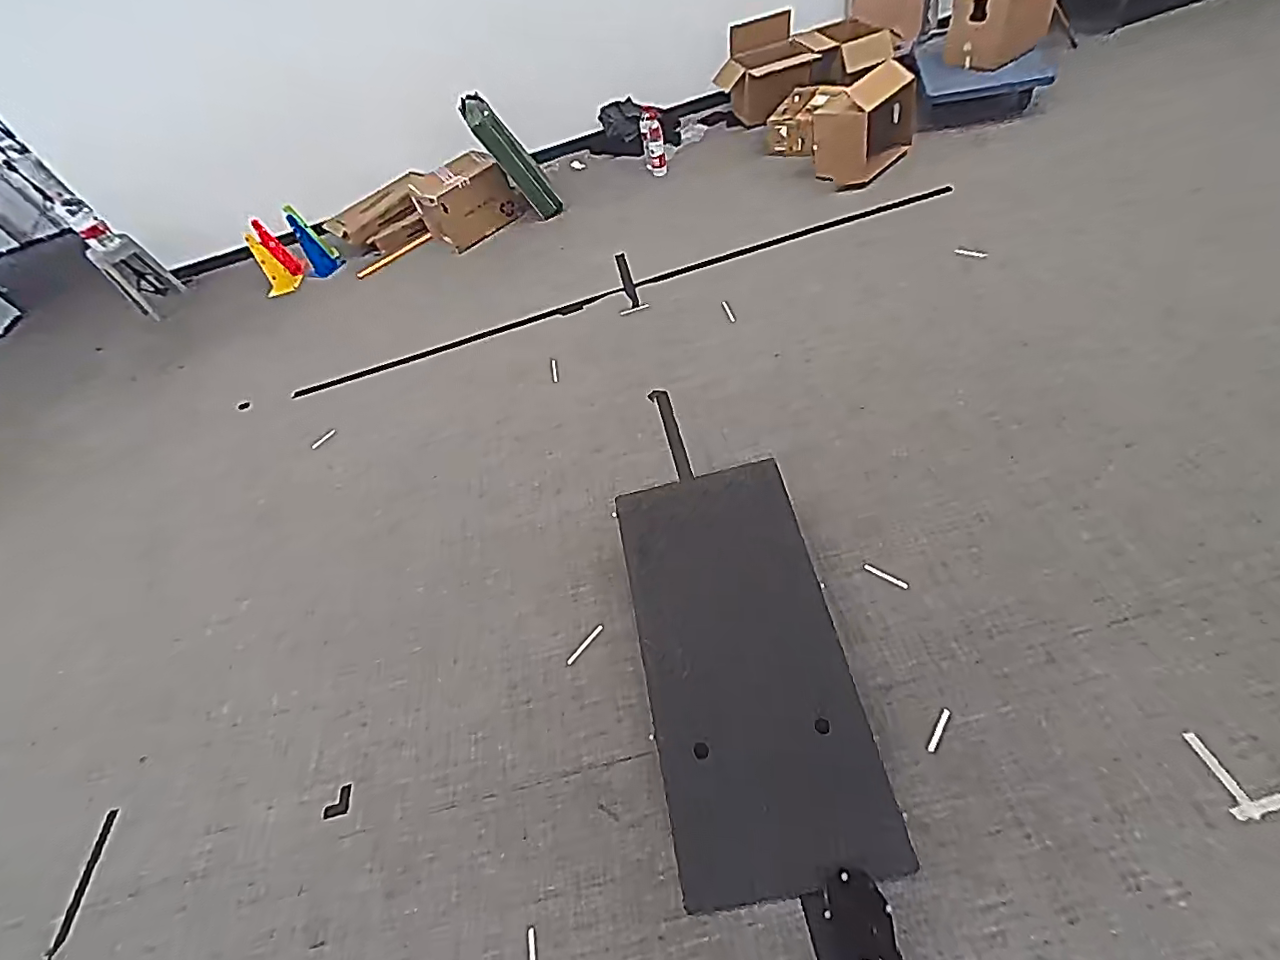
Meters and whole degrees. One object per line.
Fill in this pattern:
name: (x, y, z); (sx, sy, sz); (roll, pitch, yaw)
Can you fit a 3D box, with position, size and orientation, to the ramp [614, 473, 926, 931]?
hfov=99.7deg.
ramp: (0.256, 0.460, 1.364); (0.509, 0.206, 0.991); (-16, 49, 2)
